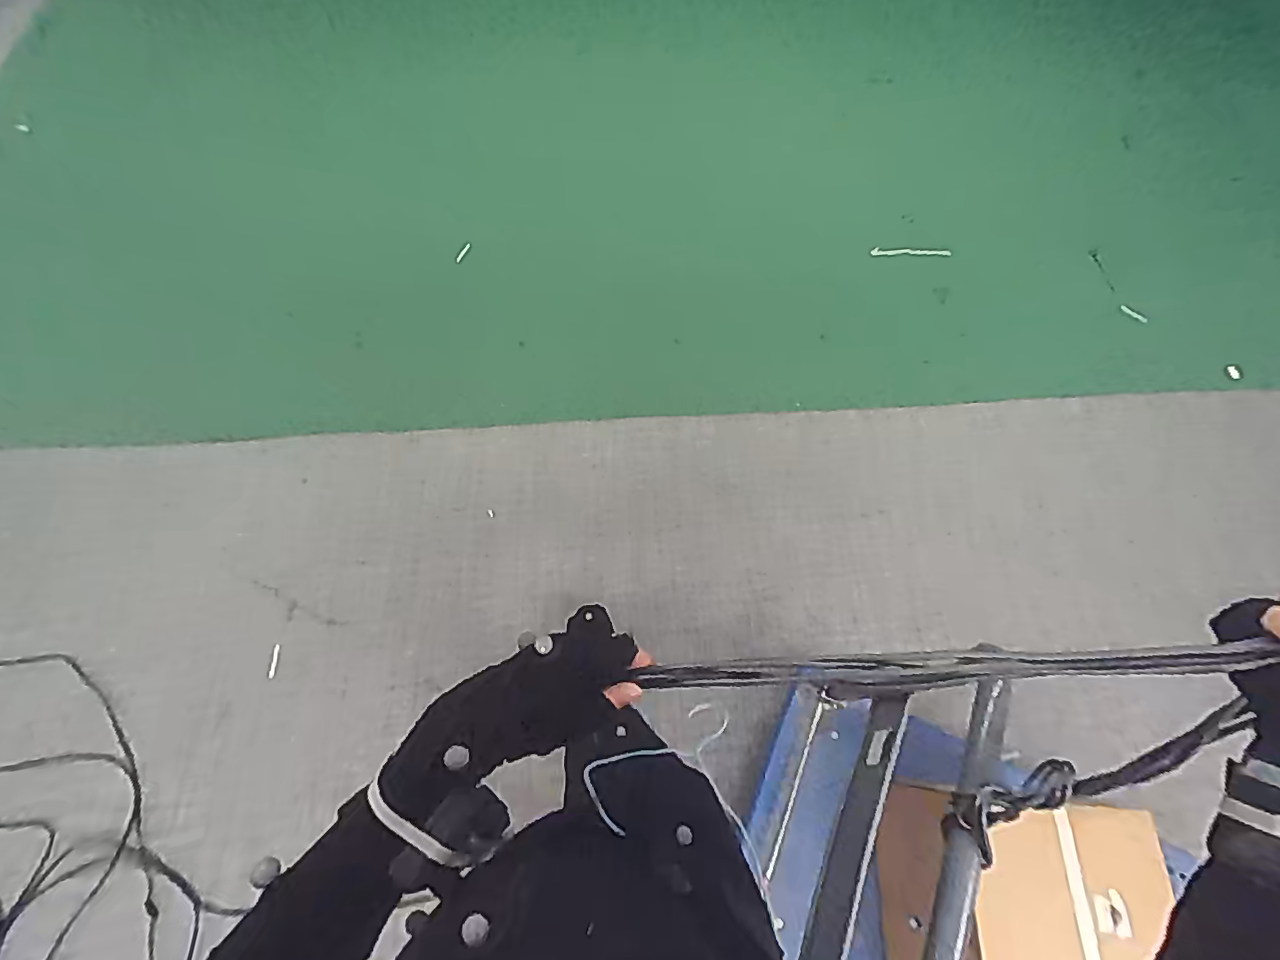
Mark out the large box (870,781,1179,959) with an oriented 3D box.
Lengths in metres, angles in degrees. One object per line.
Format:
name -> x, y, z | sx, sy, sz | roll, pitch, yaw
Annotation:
large box -> 0.619, 0.753, 0.907 | 0.320, 0.320, 0.408 | 6, 64, -2
